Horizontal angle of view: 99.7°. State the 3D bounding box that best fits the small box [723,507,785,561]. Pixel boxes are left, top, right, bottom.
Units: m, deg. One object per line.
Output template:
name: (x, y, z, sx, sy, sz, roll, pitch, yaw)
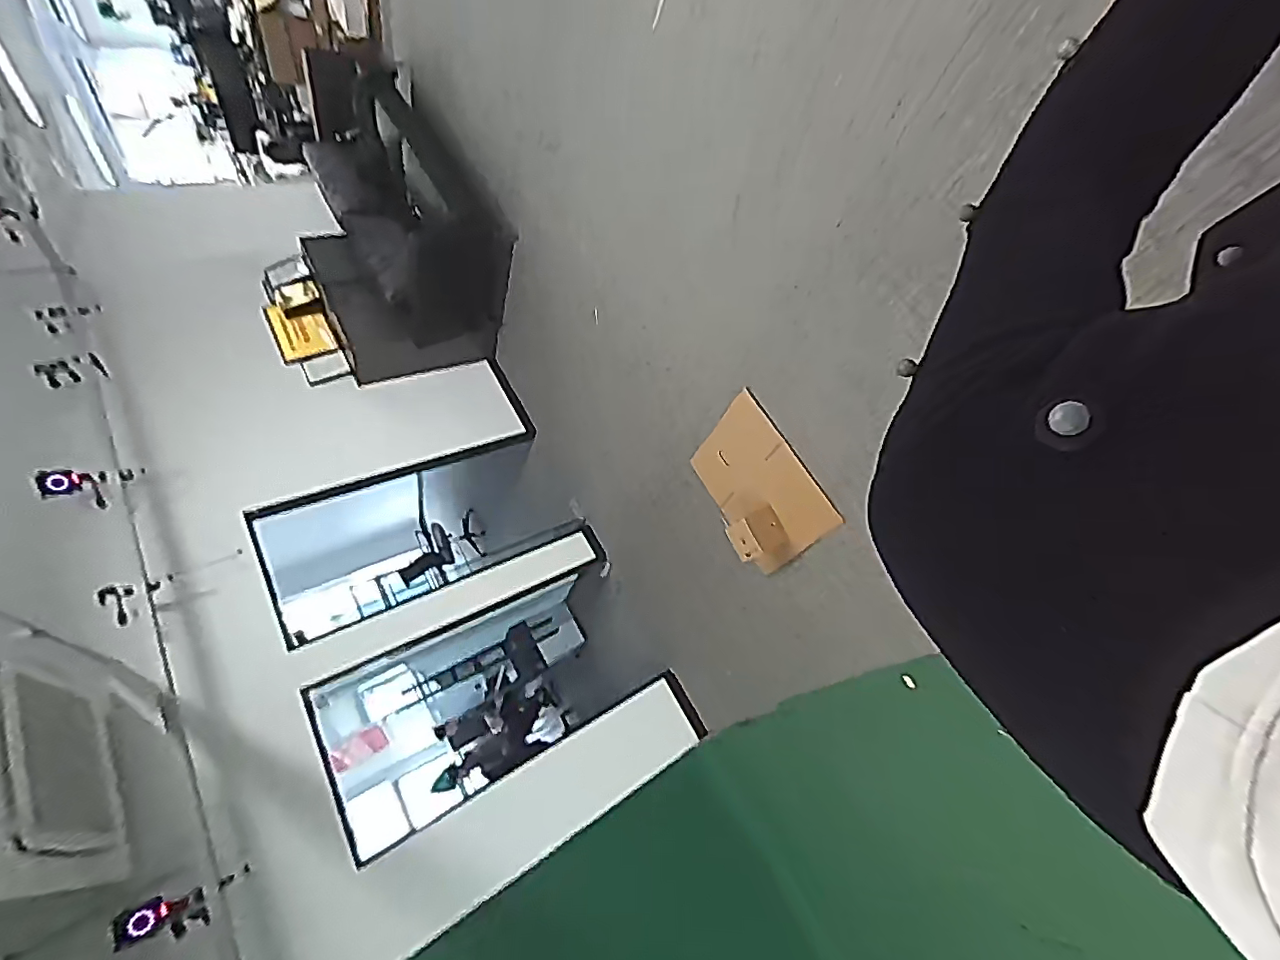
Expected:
small box: (0.508, 0.234, 2.407, 0.179, 0.176, 0.168, 63, 149, 10)
